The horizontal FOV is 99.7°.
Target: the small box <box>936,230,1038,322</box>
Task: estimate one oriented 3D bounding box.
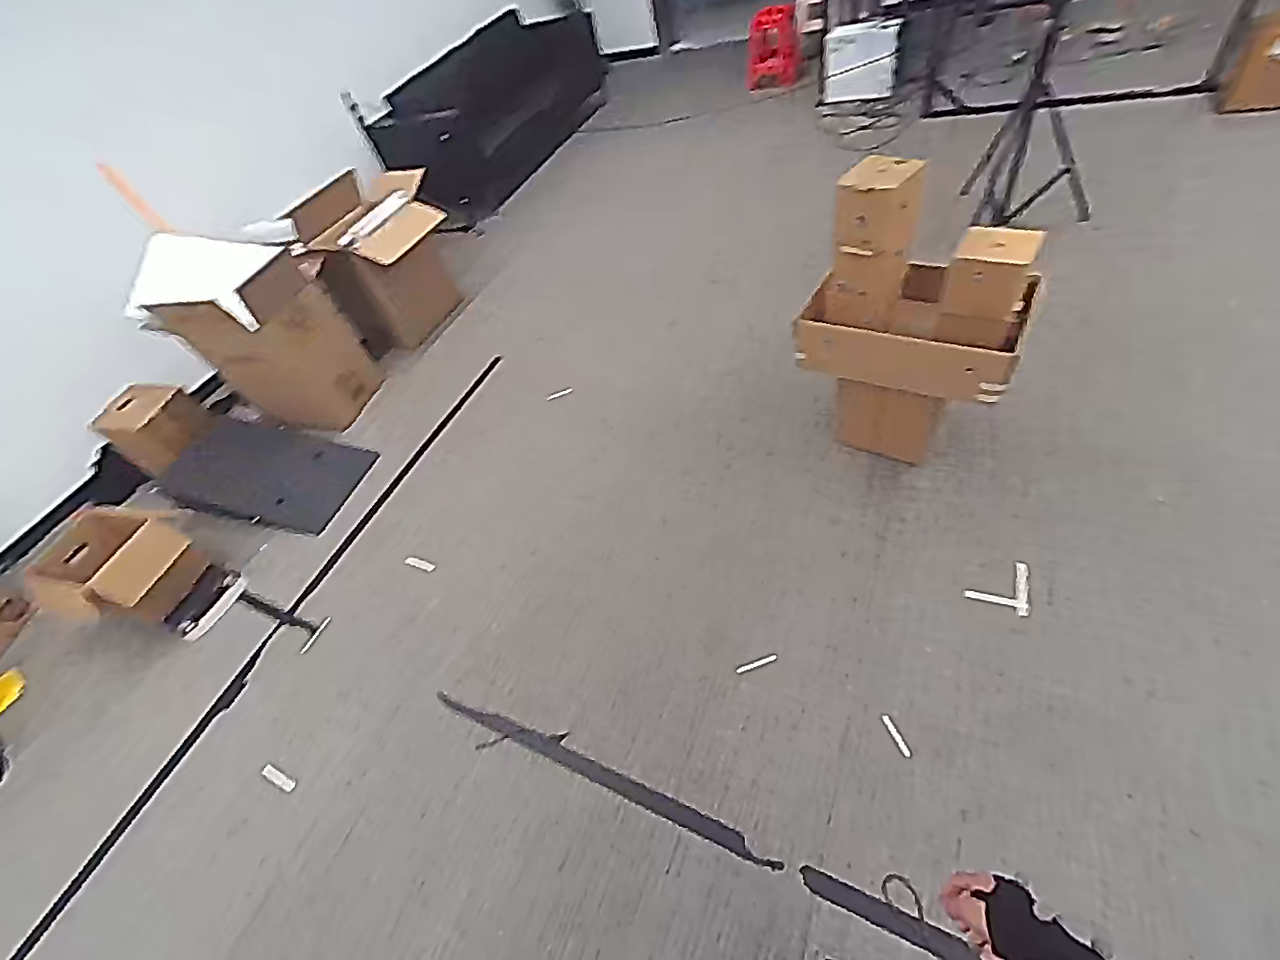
[{"bbox_3d":[0.930,-0.549,1.461,0.179,0.176,0.168,21,59,32],"label":"small box"}]

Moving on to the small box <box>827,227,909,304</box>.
[{"bbox_3d":[0.681,-0.655,1.625,0.168,0.176,0.179,27,62,33],"label":"small box"}]

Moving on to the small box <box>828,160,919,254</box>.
[{"bbox_3d":[0.643,-0.755,1.499,0.168,0.176,0.179,32,65,35],"label":"small box"}]
